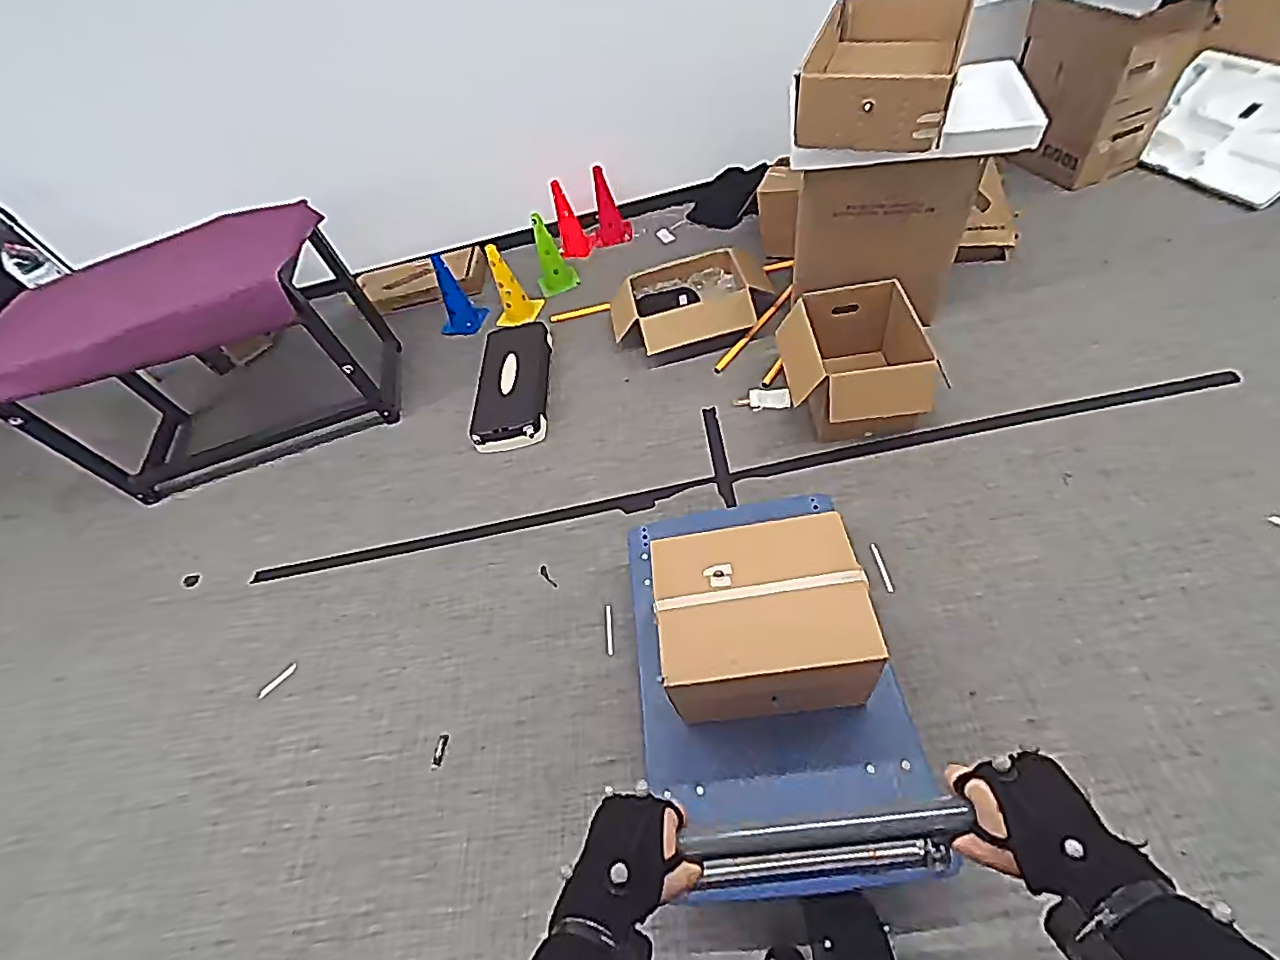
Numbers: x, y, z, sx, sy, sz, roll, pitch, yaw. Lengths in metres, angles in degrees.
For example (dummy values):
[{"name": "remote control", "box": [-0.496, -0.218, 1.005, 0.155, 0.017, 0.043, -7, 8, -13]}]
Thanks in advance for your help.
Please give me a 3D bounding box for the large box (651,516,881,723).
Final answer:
[{"name": "large box", "box": [0.261, 0.320, 1.196, 0.408, 0.320, 0.320, -11, 51, 7]}]
